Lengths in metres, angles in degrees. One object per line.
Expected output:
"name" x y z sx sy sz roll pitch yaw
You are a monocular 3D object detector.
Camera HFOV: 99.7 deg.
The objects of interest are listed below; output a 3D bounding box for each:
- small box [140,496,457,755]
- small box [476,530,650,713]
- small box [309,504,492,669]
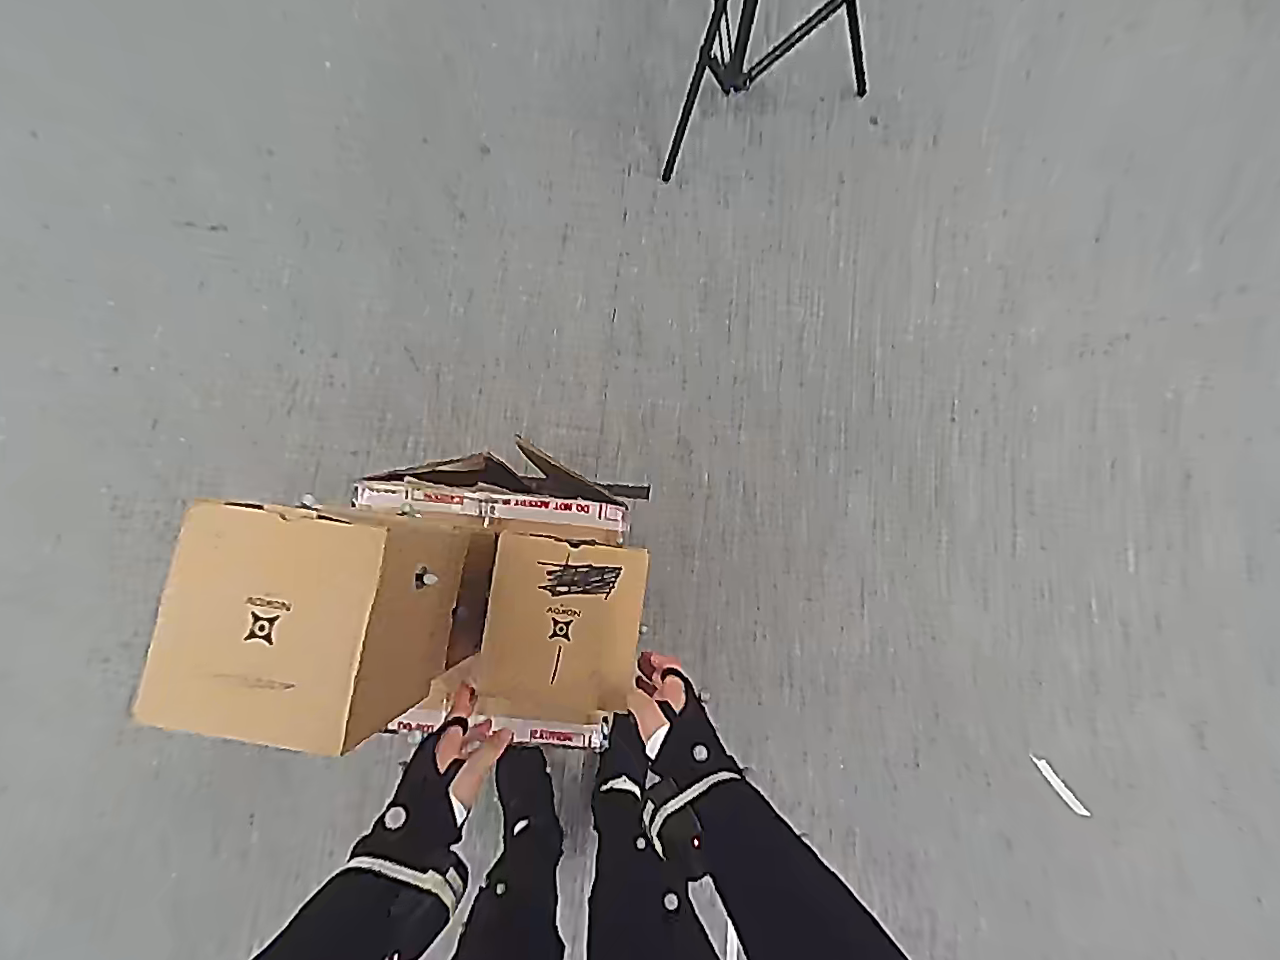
"small box" -0.284 0.119 0.496 0.168 0.176 0.179 8 84 3
"small box" -0.085 0.161 0.660 0.168 0.176 0.179 8 83 -1
"small box" -0.293 0.132 0.658 0.168 0.176 0.179 8 83 2
